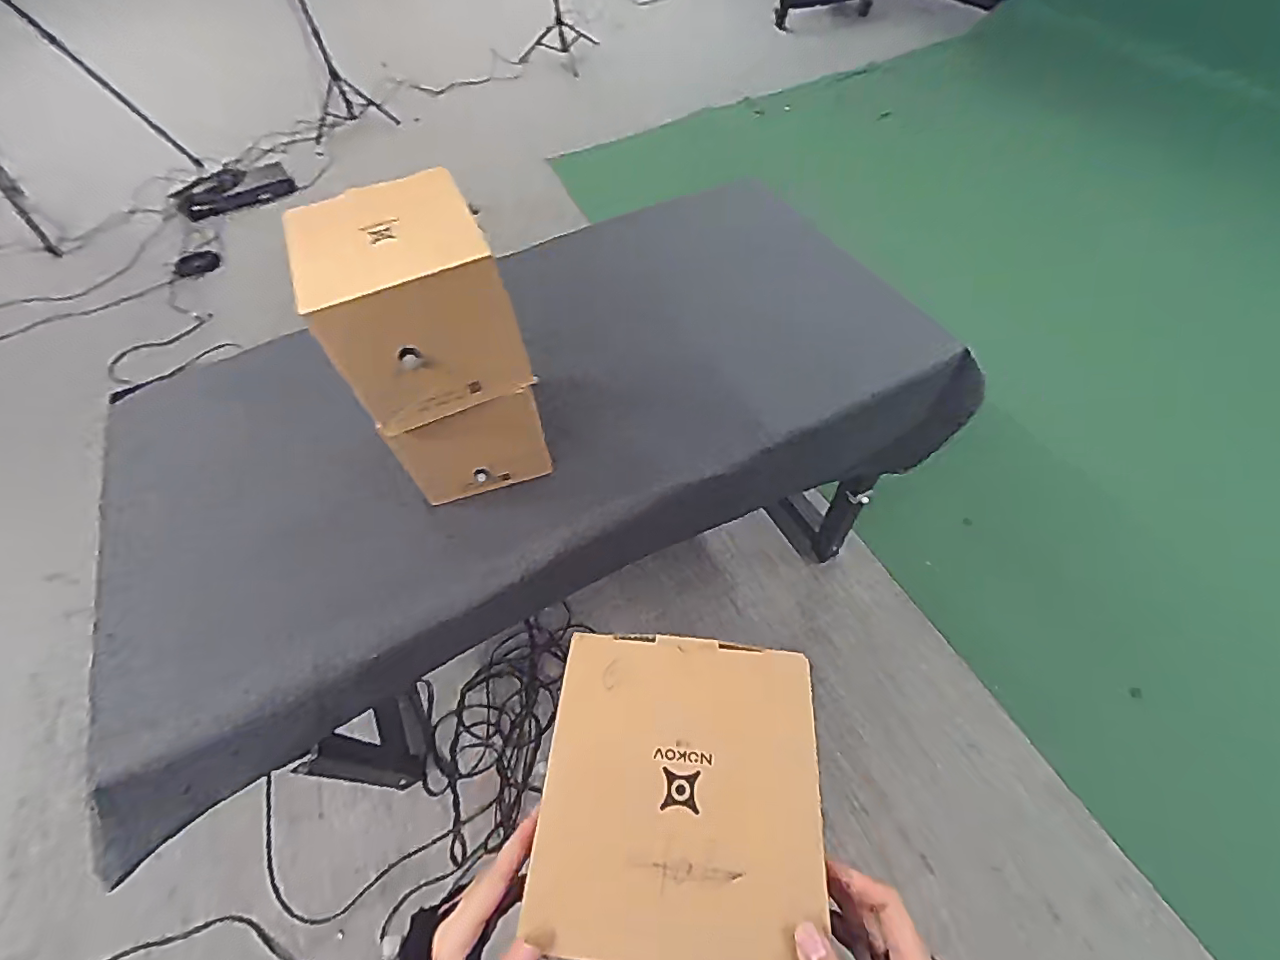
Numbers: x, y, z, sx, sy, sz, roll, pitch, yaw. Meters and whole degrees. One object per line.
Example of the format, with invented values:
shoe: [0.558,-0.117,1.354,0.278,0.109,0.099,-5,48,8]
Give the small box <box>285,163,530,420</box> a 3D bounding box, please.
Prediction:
small box: [-0.229,-0.185,0.562,0.168,0.176,0.179,-23,58,-11]

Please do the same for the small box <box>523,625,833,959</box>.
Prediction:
small box: [0.029,0.227,0.391,0.168,0.176,0.179,5,54,5]
